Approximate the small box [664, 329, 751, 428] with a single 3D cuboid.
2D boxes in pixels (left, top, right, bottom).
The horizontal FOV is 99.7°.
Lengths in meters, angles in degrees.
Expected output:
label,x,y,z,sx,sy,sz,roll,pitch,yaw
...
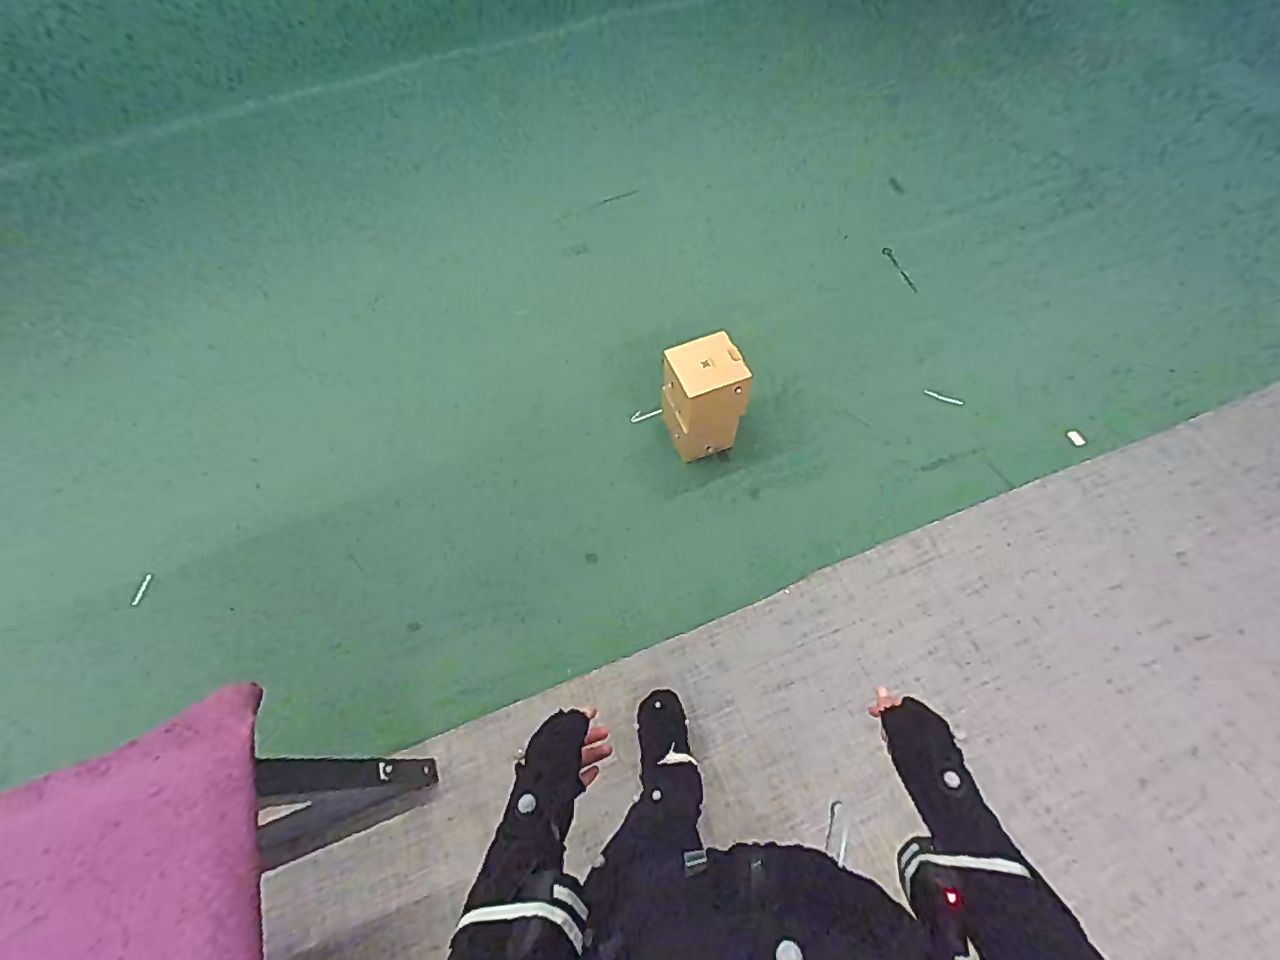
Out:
label,x,y,z,sx,sy,sz,roll,pitch,yaw
small box,0.175,-0.265,1.441,0.179,0.176,0.168,-20,64,-8
